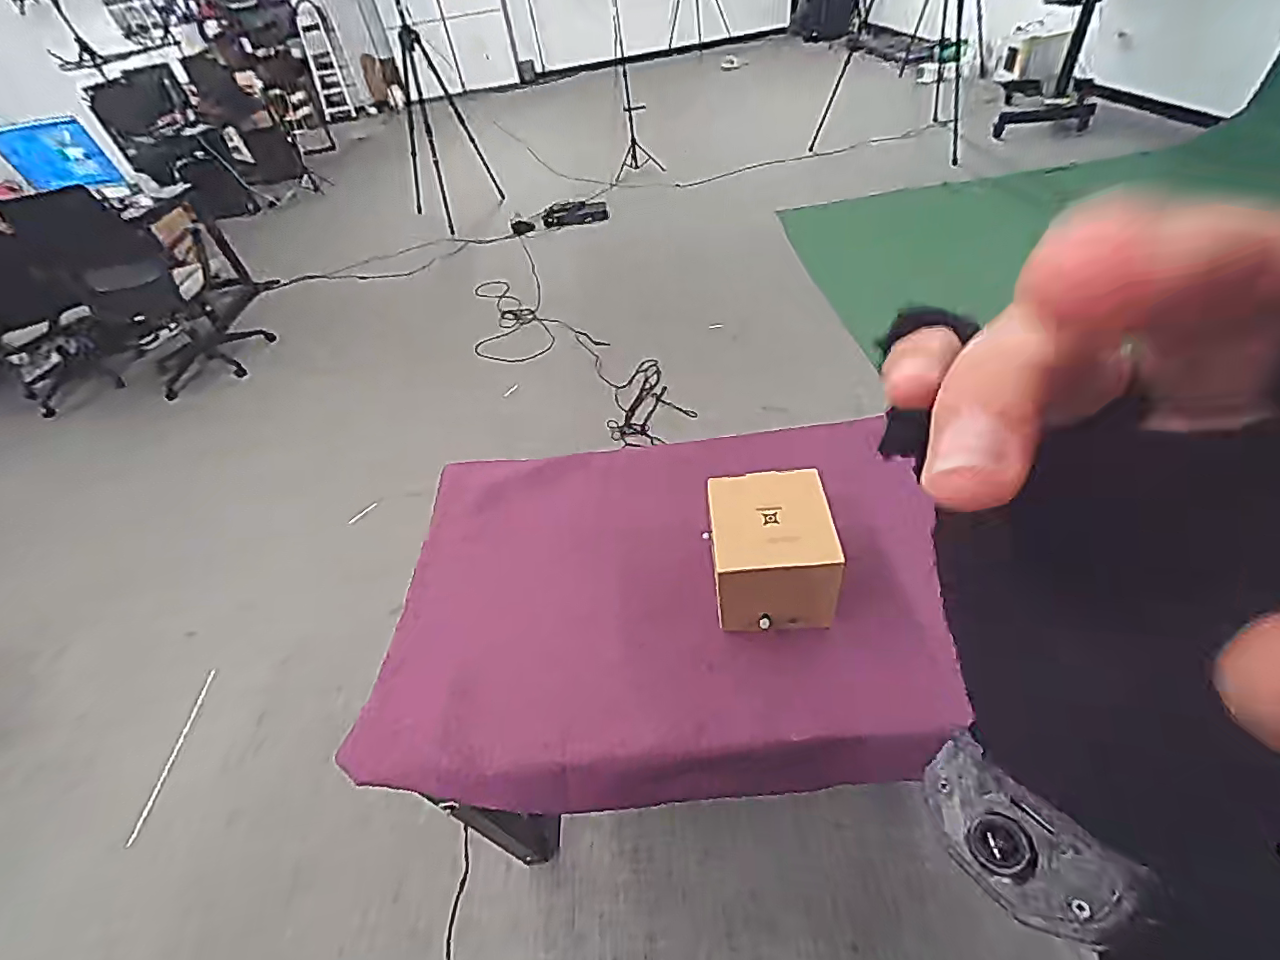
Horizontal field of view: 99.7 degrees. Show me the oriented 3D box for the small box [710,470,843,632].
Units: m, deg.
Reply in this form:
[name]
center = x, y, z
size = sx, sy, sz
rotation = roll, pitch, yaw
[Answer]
[small box]
center = 0.195, 0.109, 0.818
size = 0.168, 0.176, 0.179
rotation = -5, 45, 7
